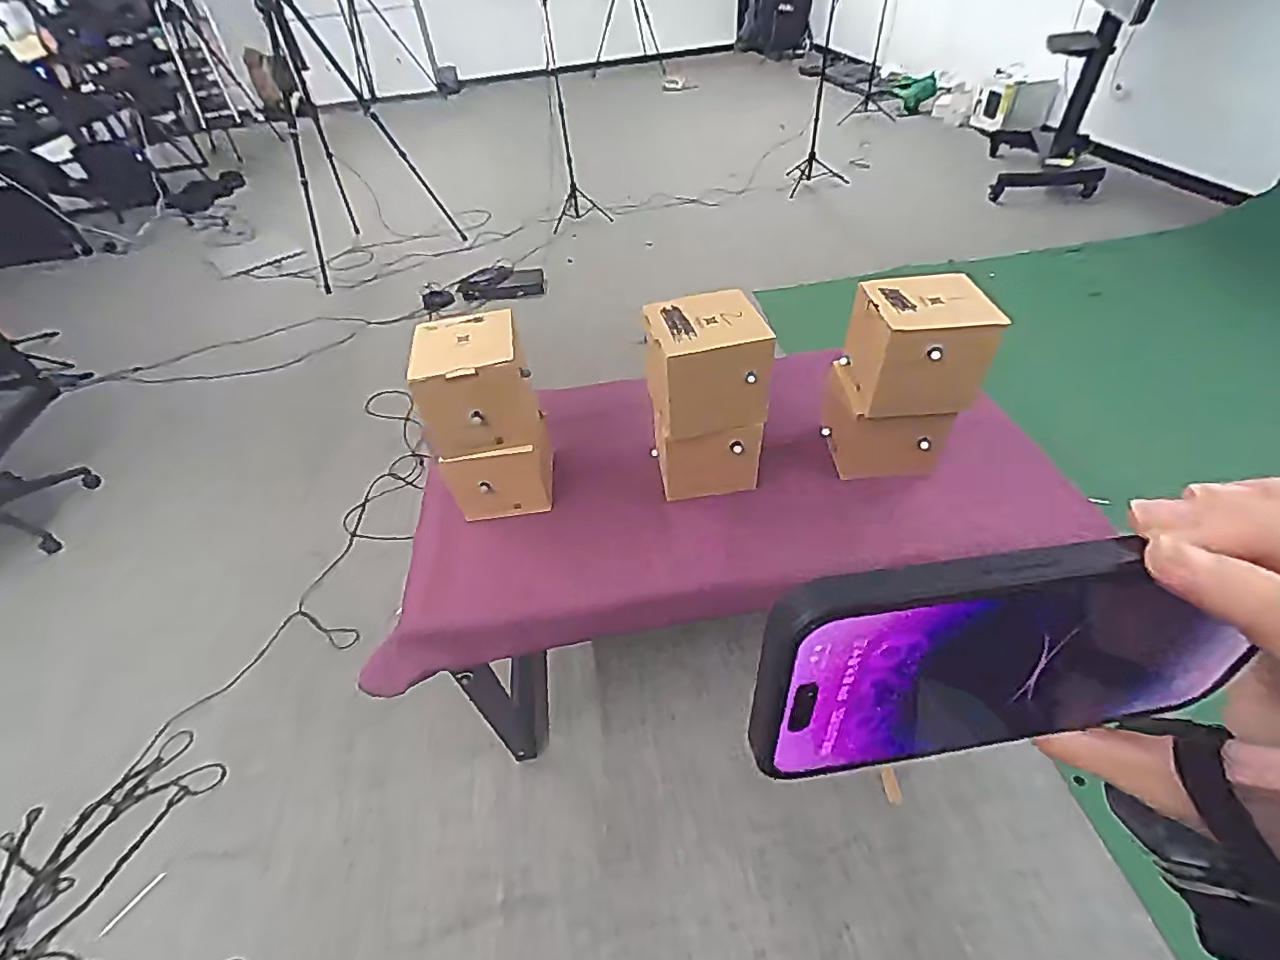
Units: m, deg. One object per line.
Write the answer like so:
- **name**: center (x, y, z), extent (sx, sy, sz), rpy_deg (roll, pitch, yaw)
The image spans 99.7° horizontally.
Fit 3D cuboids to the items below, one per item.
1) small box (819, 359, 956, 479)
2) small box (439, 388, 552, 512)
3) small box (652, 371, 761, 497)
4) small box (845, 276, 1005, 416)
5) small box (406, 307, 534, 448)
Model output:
- **small box**: center (0.459, -0.117, 1.034), extent (0.179, 0.176, 0.168), rpy_deg (-3, 46, 4)
- **small box**: center (-0.269, -0.052, 1.048), extent (0.168, 0.176, 0.179), rpy_deg (-7, 46, 0)
- **small box**: center (0.121, -0.086, 1.038), extent (0.179, 0.176, 0.168), rpy_deg (-7, 46, -1)
- **small box**: center (0.457, -0.220, 0.907), extent (0.179, 0.176, 0.168), rpy_deg (-3, 46, 3)
- **small box**: center (-0.283, -0.171, 0.936), extent (0.168, 0.176, 0.179), rpy_deg (-10, 47, -4)
